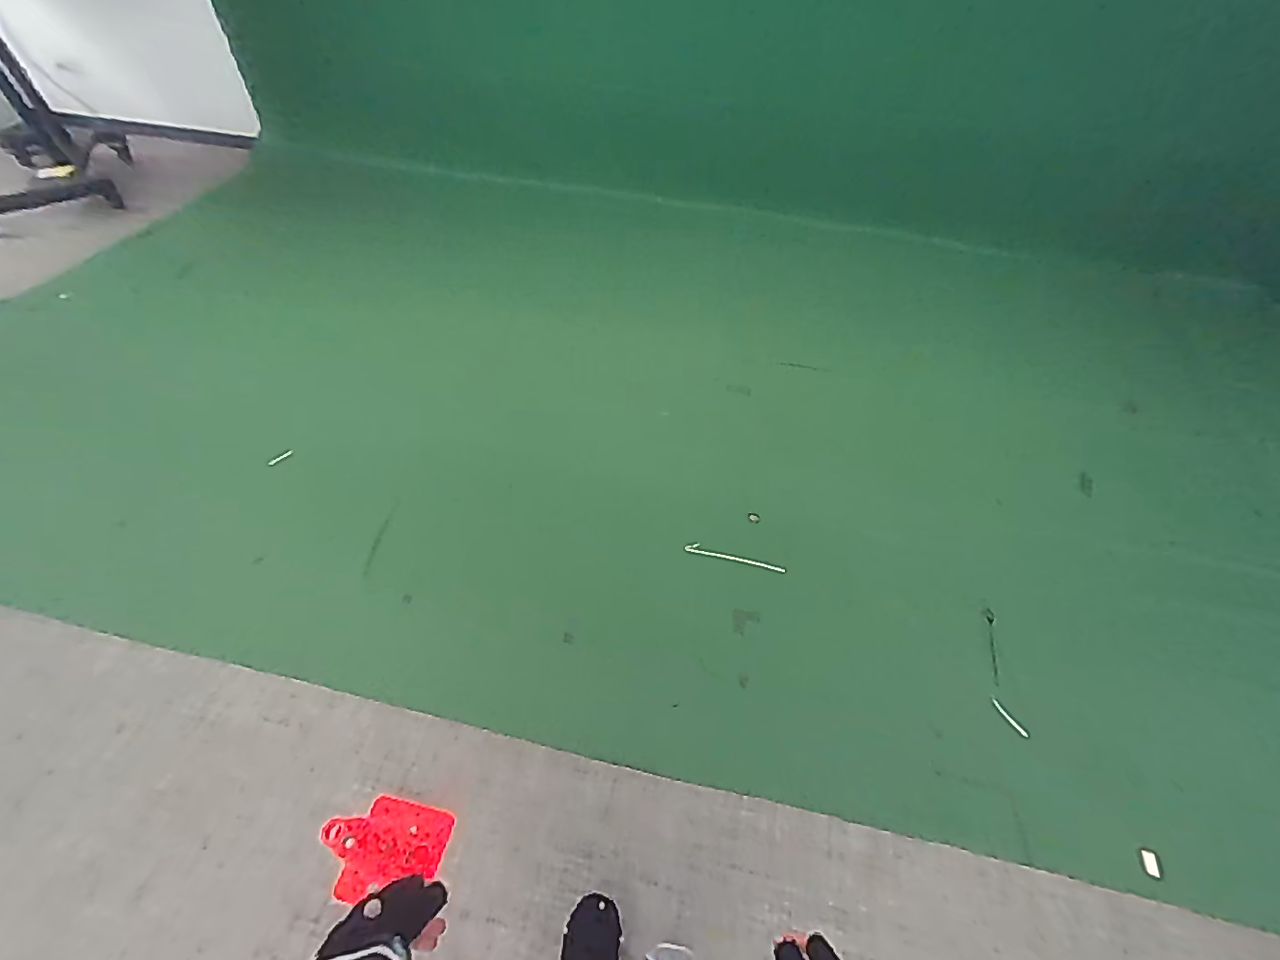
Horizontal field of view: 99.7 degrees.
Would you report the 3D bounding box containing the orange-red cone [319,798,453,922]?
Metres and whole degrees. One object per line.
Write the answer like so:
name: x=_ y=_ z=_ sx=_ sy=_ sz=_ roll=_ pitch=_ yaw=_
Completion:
orange-red cone: x=-0.531 y=0.718 z=1.055 sx=0.198 sy=0.360 sz=0.199 roll=11 pitch=51 yaw=8
